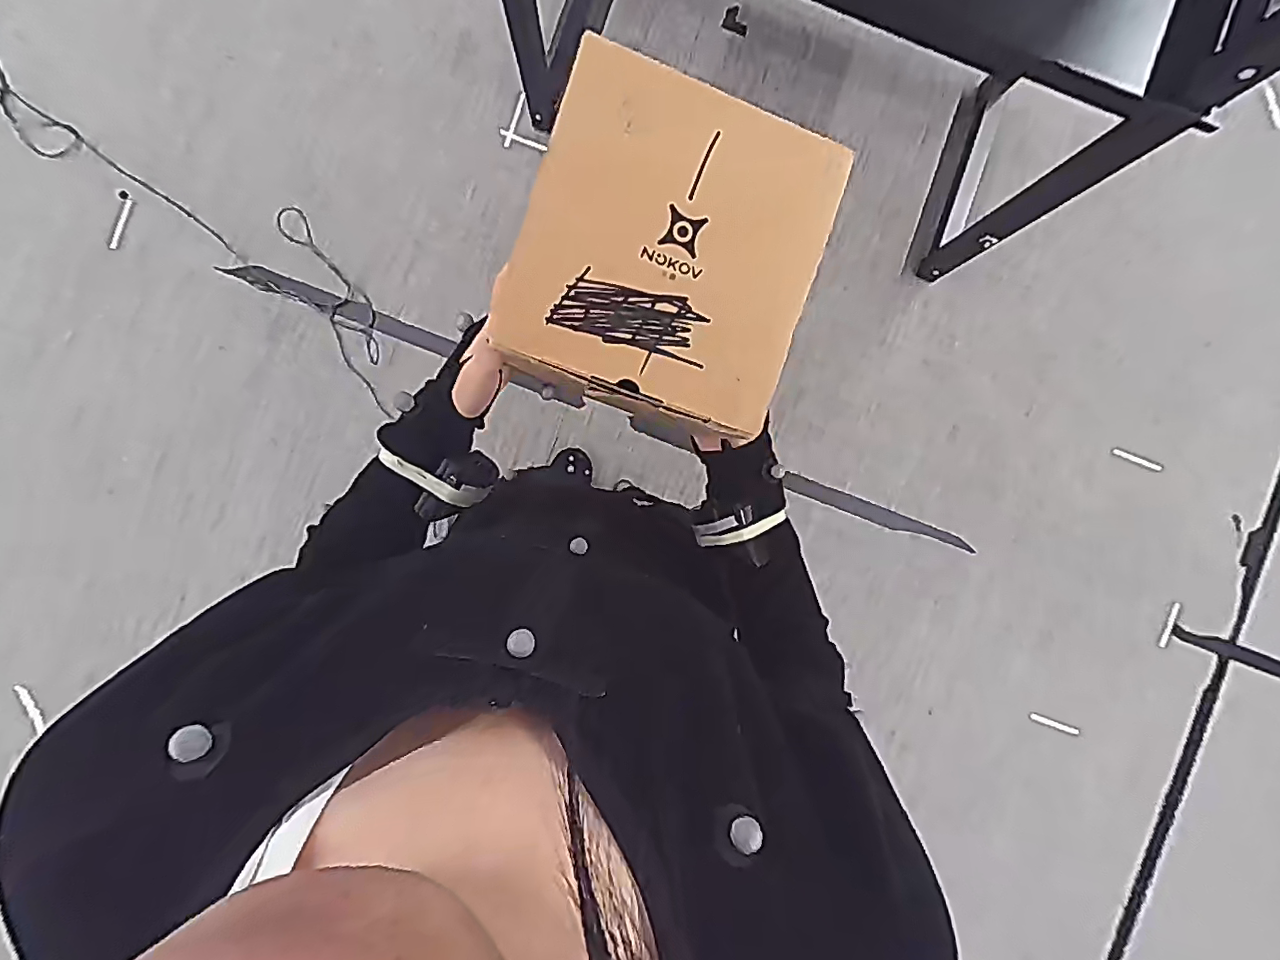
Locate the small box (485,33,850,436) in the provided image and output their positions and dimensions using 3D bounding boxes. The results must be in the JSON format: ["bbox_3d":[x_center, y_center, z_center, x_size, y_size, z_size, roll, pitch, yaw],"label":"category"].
[{"bbox_3d":[0.009,-0.139,0.382,0.168,0.176,0.179,18,93,-8],"label":"small box"}]
